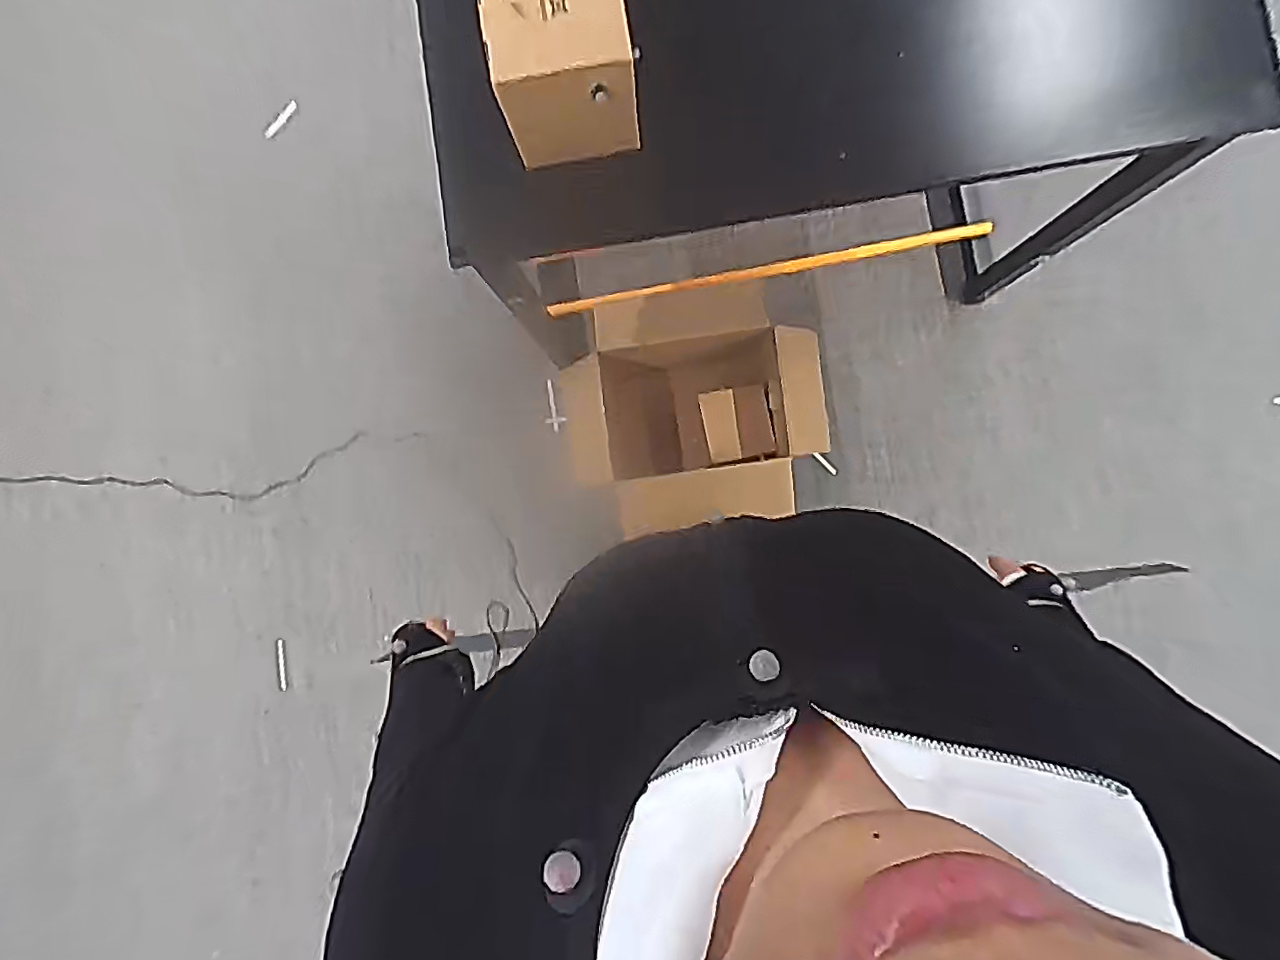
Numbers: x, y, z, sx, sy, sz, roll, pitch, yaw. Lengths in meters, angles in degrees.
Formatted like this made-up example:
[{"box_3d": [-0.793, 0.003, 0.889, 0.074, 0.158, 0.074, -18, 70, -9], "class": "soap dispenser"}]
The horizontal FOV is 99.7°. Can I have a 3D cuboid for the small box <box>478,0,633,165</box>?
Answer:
[{"box_3d": [-0.105, -0.565, 0.732, 0.179, 0.176, 0.168, -9, 87, 2], "class": "small box"}]
